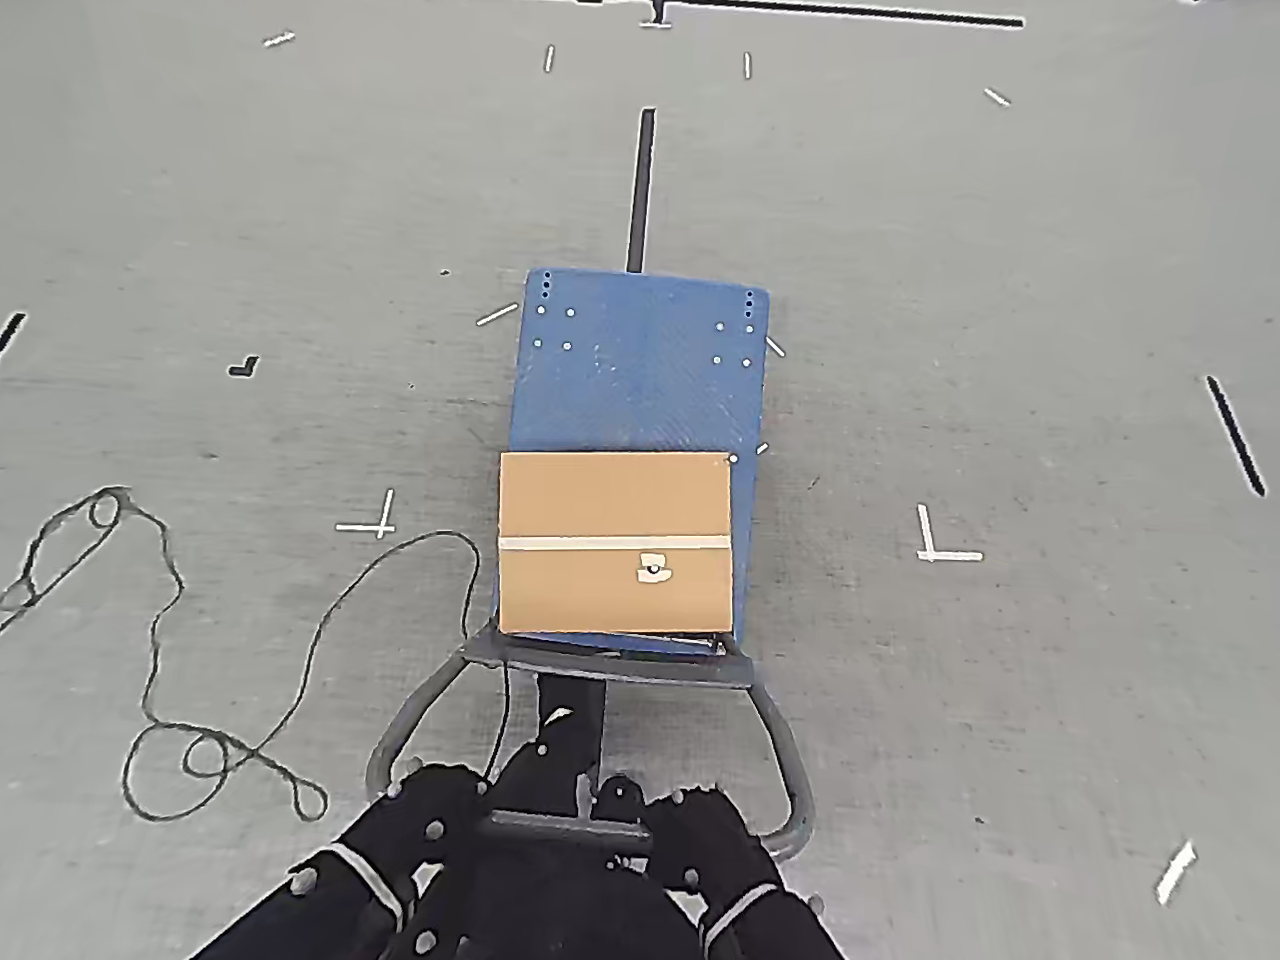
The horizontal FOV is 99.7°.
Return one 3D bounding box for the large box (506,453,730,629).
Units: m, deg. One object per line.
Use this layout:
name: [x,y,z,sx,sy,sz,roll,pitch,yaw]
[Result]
large box: [-0.044,0.115,1.113,0.408,0.320,0.320,0,88,-1]
